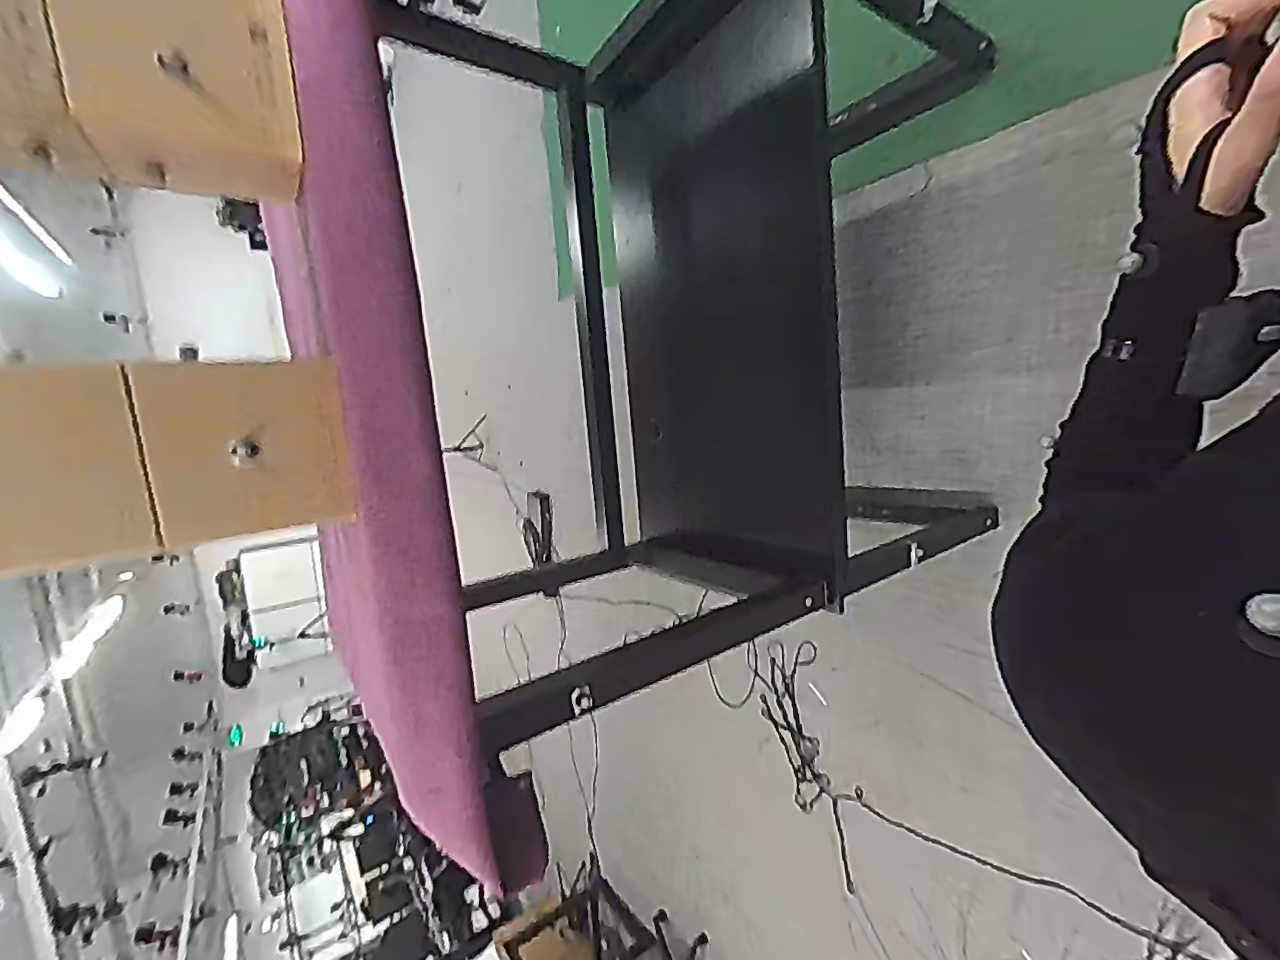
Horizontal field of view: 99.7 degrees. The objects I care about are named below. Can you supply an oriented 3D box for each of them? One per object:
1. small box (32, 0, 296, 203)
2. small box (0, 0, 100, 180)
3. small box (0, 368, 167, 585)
[{"bbox_3d":[-0.450,-0.389,0.532,0.179,0.176,0.168,14,110,54],"label":"small box"},{"bbox_3d":[-0.585,-0.366,0.441,0.179,0.176,0.168,15,110,53],"label":"small box"},{"bbox_3d":[-0.559,-0.010,0.494,0.168,0.176,0.179,9,106,53],"label":"small box"}]
